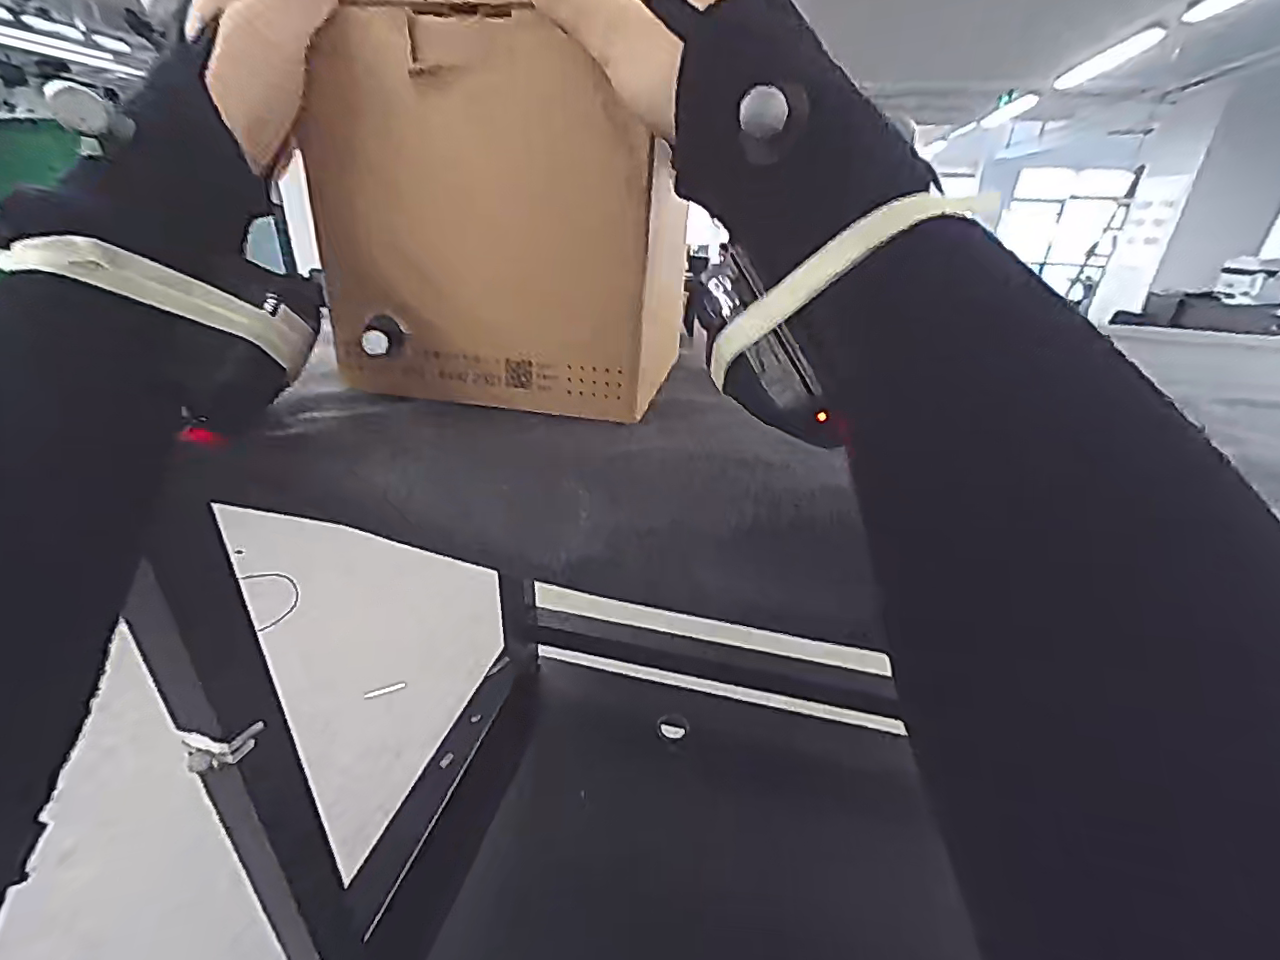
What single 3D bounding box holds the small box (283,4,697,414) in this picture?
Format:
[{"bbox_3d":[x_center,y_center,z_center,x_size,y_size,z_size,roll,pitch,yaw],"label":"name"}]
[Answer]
[{"bbox_3d":[-0.061,-0.145,0.324,0.168,0.176,0.179,8,24,8],"label":"small box"}]
